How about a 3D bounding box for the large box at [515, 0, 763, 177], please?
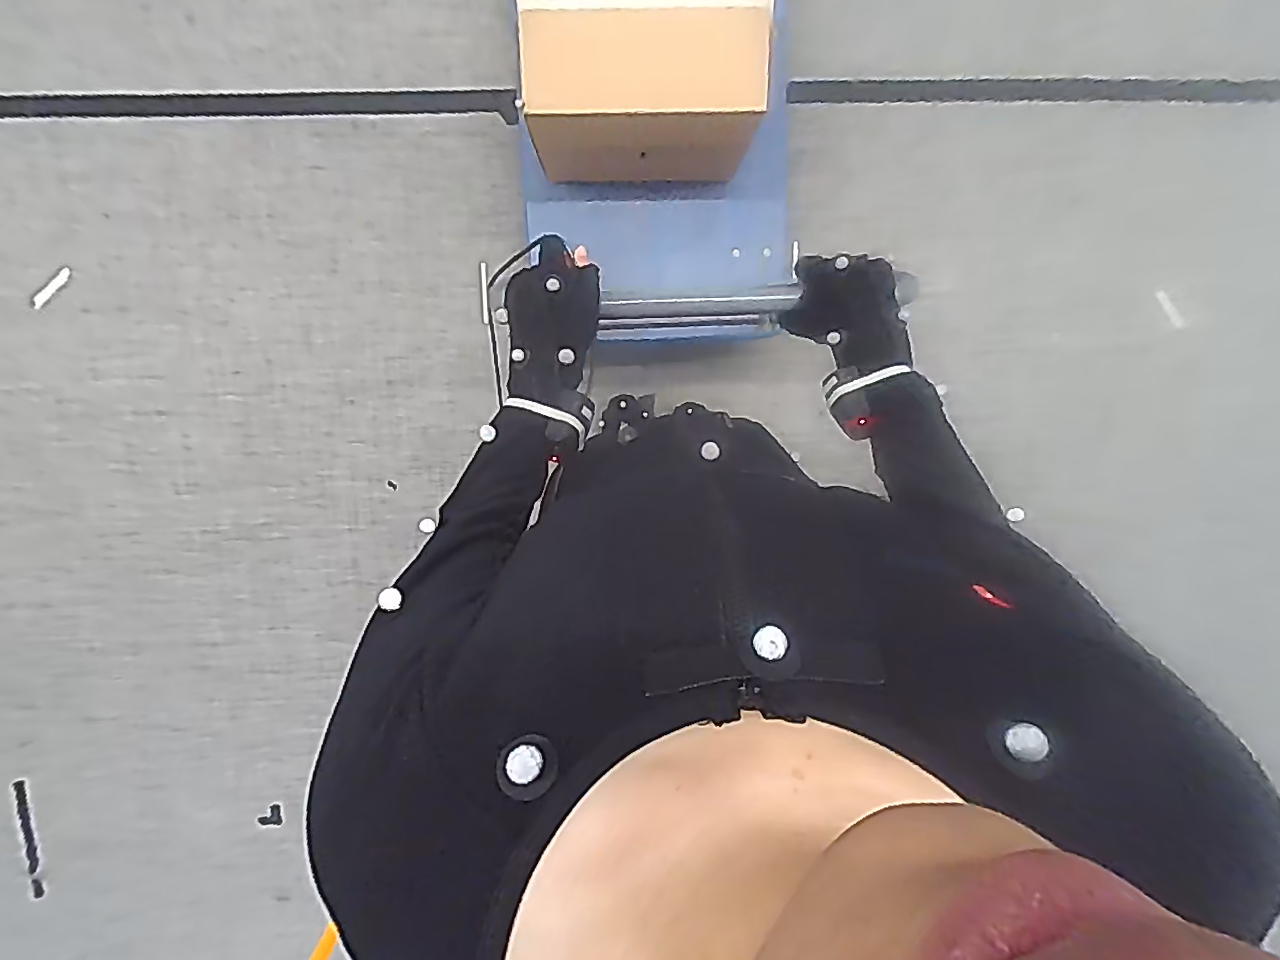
[{"bbox_3d":[-0.001,-0.786,1.010,0.408,0.320,0.320,-2,100,-1],"label":"large box"}]
